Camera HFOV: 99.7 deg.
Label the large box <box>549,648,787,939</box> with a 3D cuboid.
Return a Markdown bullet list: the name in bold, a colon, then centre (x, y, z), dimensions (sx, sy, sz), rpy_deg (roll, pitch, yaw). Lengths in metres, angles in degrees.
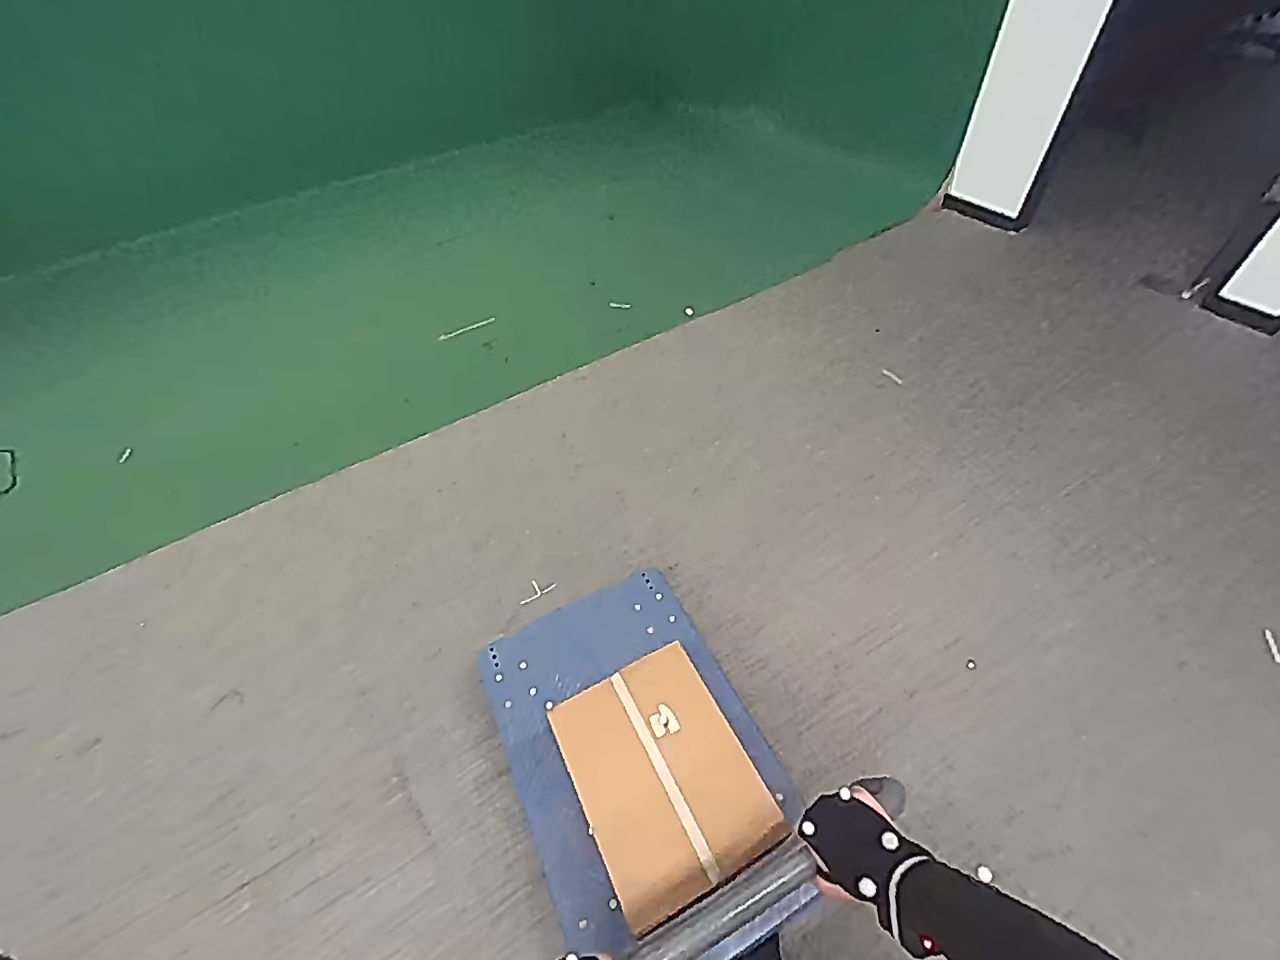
- **large box**: centre (0.053, 0.650, 1.141), dimensions (0.320, 0.320, 0.408), rpy_deg (-24, 51, -14)
